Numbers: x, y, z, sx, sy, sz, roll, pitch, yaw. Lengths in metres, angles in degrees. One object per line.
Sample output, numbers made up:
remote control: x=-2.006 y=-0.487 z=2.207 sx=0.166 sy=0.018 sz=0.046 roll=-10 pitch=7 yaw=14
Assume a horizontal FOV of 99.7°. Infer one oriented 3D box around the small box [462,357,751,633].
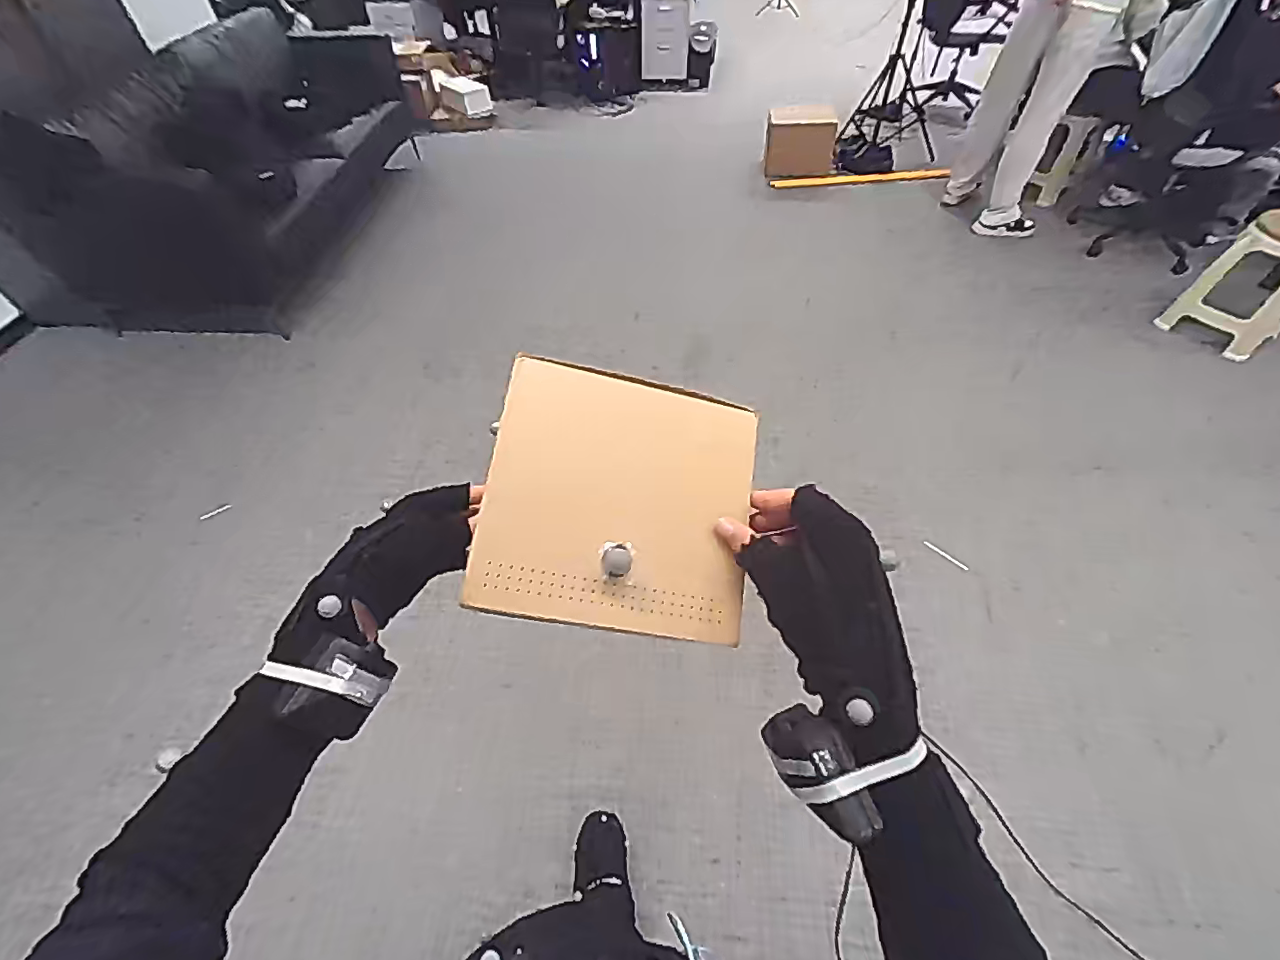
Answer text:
small box: x=-0.029 y=0.029 z=0.437 sx=0.179 sy=0.168 sz=0.176 roll=11 pitch=73 yaw=-10
